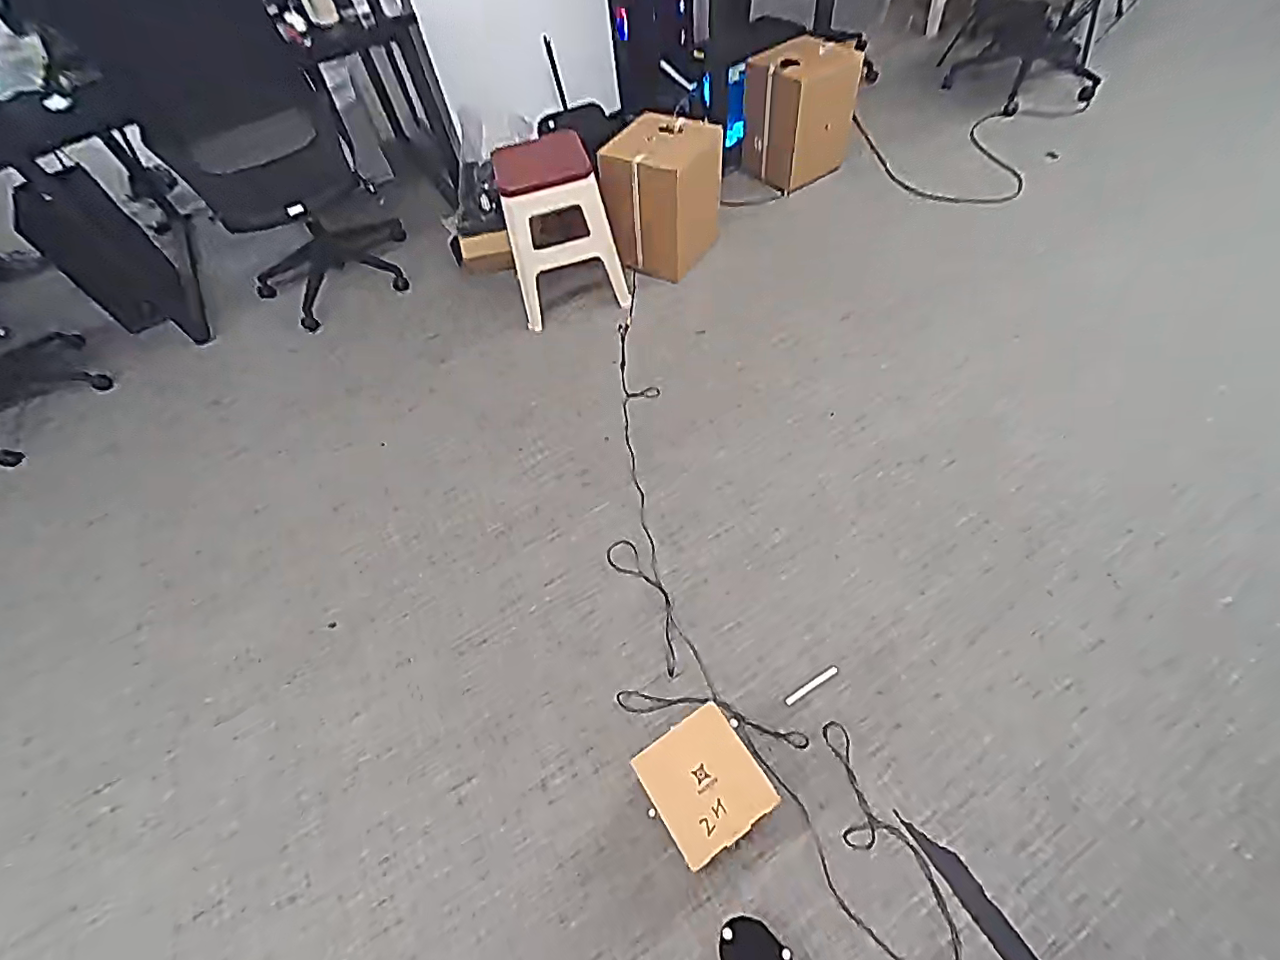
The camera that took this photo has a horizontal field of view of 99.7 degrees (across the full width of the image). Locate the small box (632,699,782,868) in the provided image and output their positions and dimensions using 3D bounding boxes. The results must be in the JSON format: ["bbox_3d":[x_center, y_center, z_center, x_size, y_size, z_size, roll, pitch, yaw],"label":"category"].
[{"bbox_3d":[0.105,0.497,0.888,0.168,0.176,0.179,-31,59,-13],"label":"small box"}]
